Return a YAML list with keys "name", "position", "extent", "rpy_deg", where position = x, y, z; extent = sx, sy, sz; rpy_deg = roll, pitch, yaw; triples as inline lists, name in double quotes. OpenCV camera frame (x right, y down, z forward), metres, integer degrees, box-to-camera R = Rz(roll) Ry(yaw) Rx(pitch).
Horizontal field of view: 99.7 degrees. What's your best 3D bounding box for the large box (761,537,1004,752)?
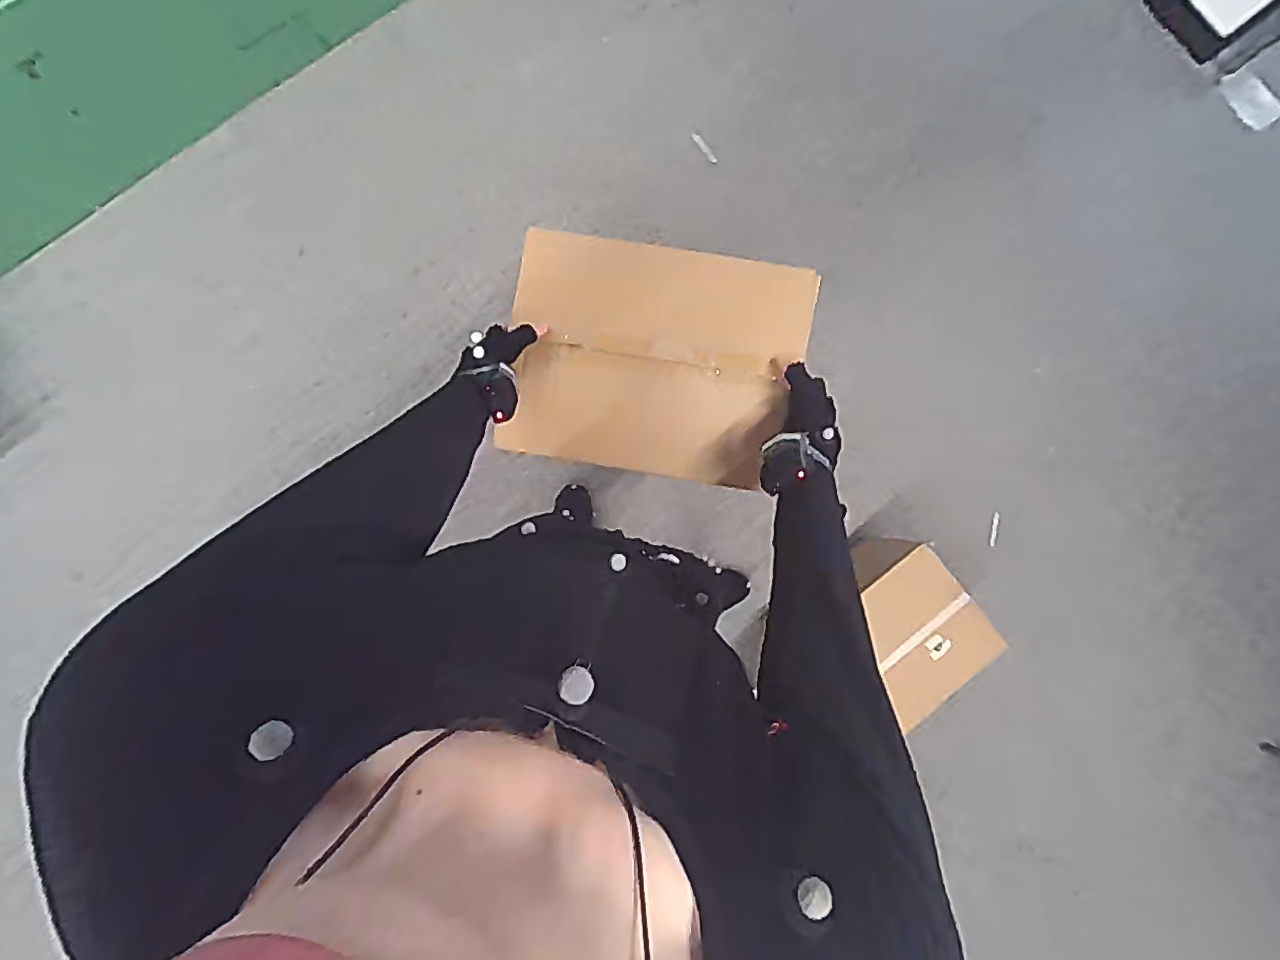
- name: "large box"
  position: [0.588, 0.387, 1.380]
  extent: [0.408, 0.320, 0.320]
  rpy_deg: [-37, 89, -5]
